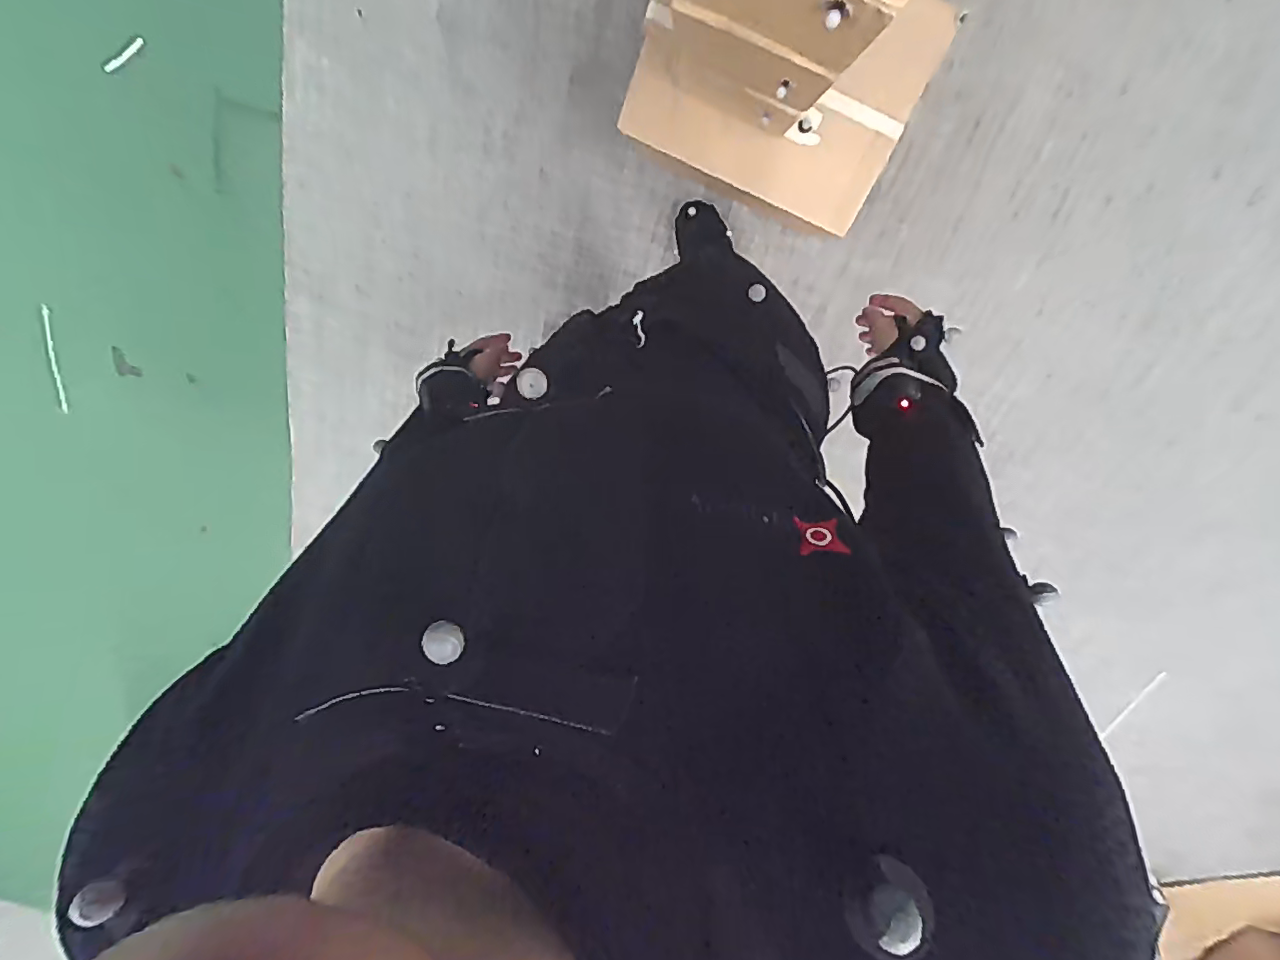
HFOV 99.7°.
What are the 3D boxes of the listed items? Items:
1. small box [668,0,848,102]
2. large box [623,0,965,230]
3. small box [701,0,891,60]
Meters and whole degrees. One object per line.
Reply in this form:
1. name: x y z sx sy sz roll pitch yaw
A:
1. small box: 0.141 -0.514 0.548 0.179 0.176 0.168 20 115 -2
2. large box: 0.221 -0.661 0.921 0.408 0.320 0.320 22 117 -5
3. small box: 0.132 -0.452 0.397 0.179 0.176 0.168 22 115 -5
